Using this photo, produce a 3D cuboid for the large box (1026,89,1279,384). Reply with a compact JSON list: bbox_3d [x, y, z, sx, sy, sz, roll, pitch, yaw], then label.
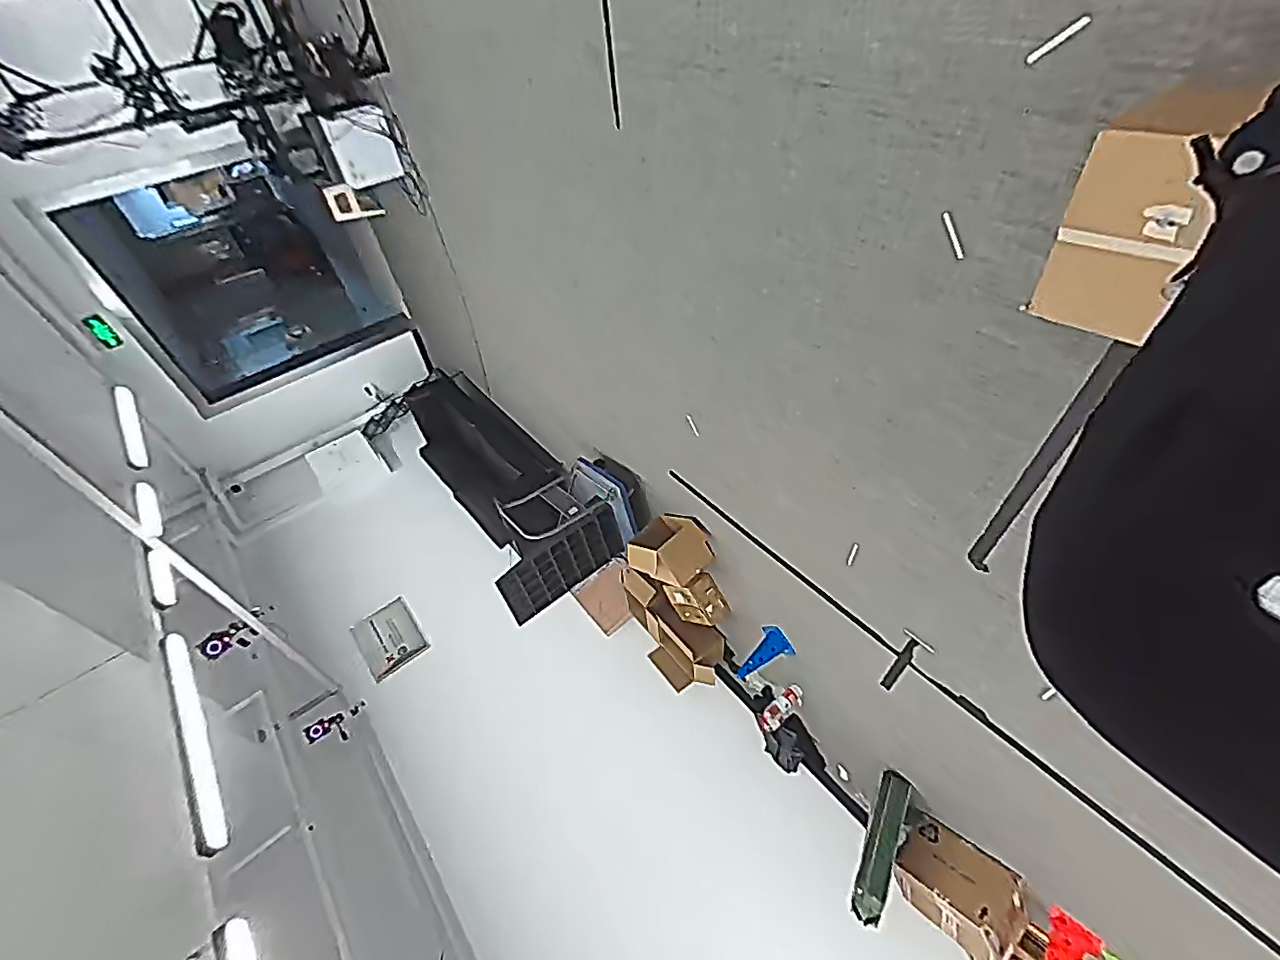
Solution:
[{"bbox_3d":[0.969,-0.414,0.880,0.408,0.320,0.320,40,151,38],"label":"large box"}]
